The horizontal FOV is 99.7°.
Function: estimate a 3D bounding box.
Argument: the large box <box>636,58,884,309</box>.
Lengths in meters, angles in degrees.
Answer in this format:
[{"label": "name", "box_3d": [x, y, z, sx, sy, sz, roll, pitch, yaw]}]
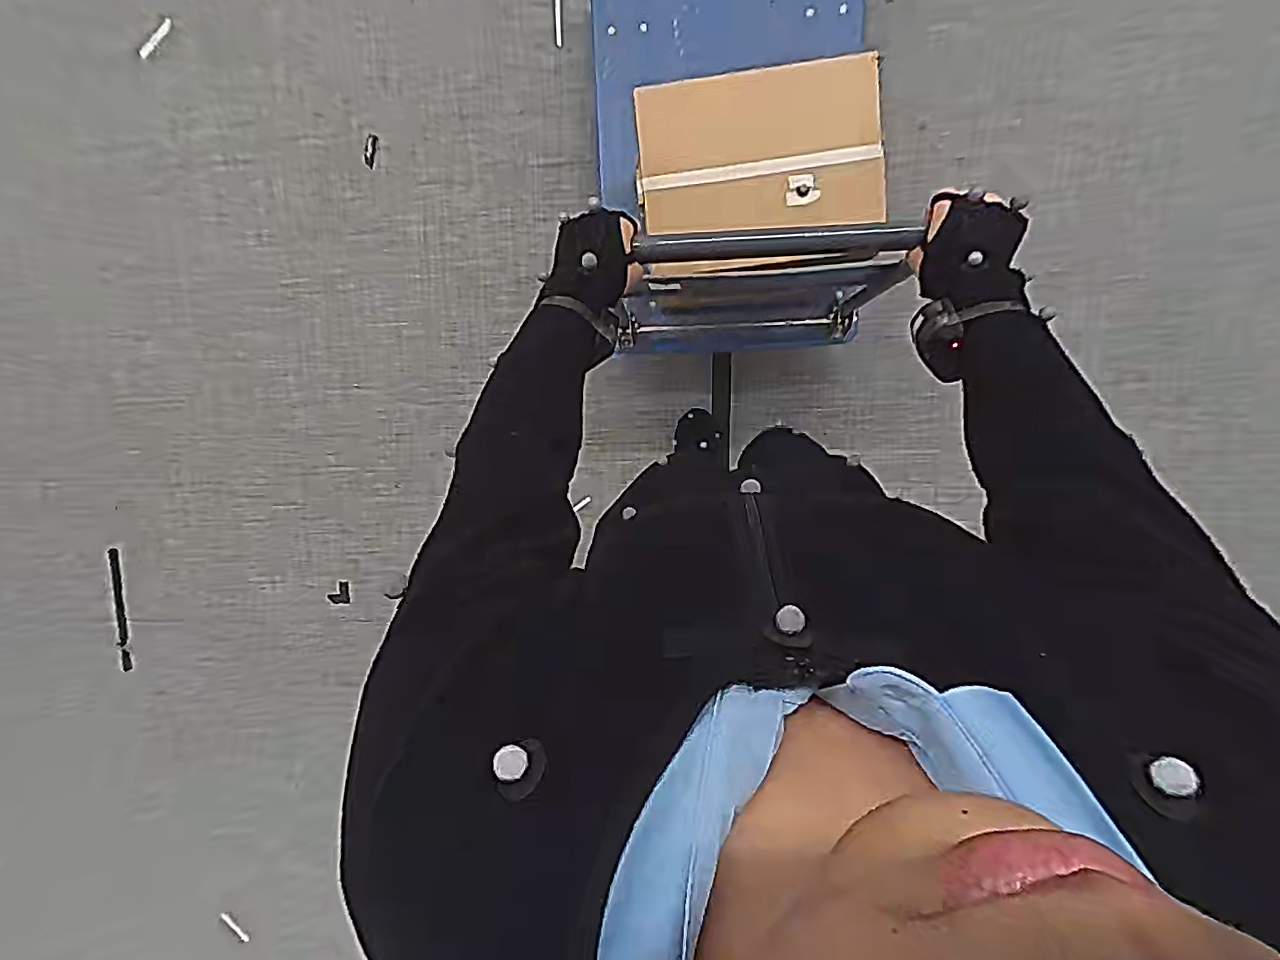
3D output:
[{"label": "large box", "box_3d": [0.214, -0.547, 1.074, 0.408, 0.320, 0.320, -6, 98, 4]}]
